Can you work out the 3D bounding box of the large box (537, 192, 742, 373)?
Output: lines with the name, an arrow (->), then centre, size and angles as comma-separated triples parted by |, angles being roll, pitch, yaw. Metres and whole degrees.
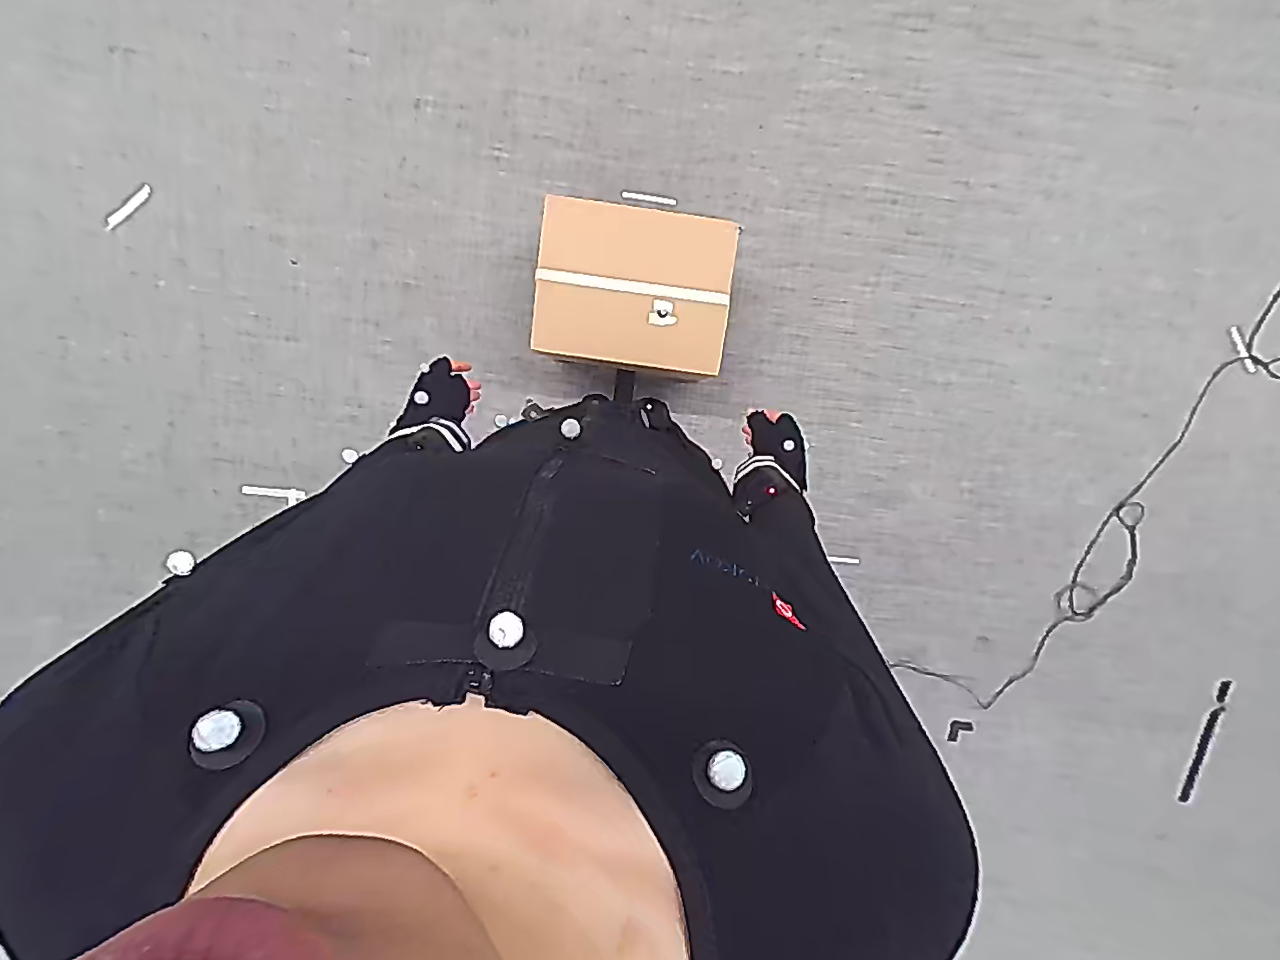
large box -> -0.010, -0.432, 1.264 | 0.408, 0.320, 0.320 | 7, 100, -3
